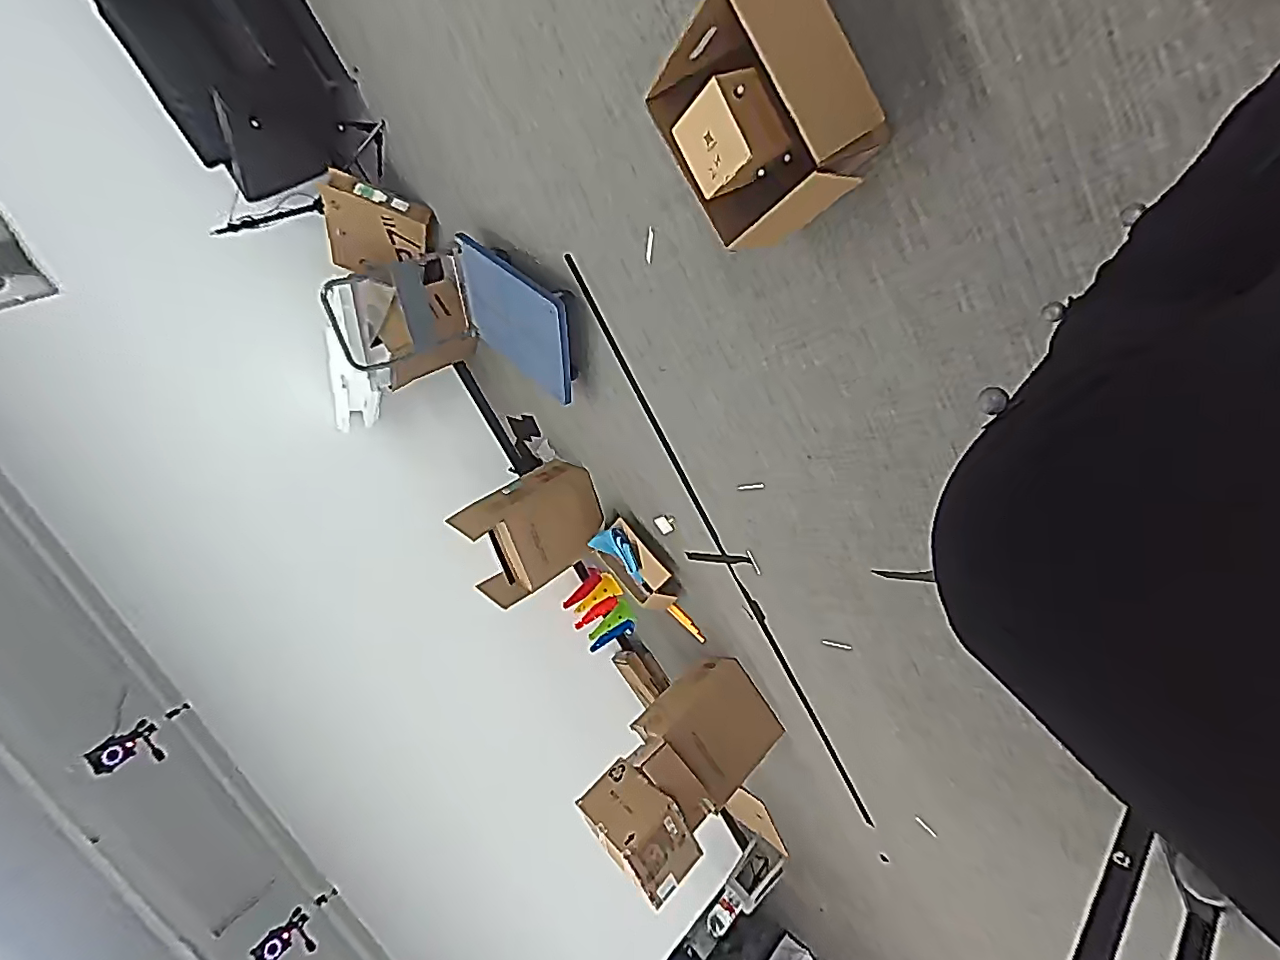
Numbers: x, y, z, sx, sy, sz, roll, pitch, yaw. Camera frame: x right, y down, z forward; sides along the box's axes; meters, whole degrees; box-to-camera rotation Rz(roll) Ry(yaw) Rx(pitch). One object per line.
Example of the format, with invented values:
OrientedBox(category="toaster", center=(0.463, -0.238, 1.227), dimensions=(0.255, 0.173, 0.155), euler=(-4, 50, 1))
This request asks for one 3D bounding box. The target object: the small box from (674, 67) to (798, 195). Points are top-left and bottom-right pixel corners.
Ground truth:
OrientedBox(category="small box", center=(0.215, -0.781, 1.208), dimensions=(0.179, 0.176, 0.168), euler=(60, 153, -9))
